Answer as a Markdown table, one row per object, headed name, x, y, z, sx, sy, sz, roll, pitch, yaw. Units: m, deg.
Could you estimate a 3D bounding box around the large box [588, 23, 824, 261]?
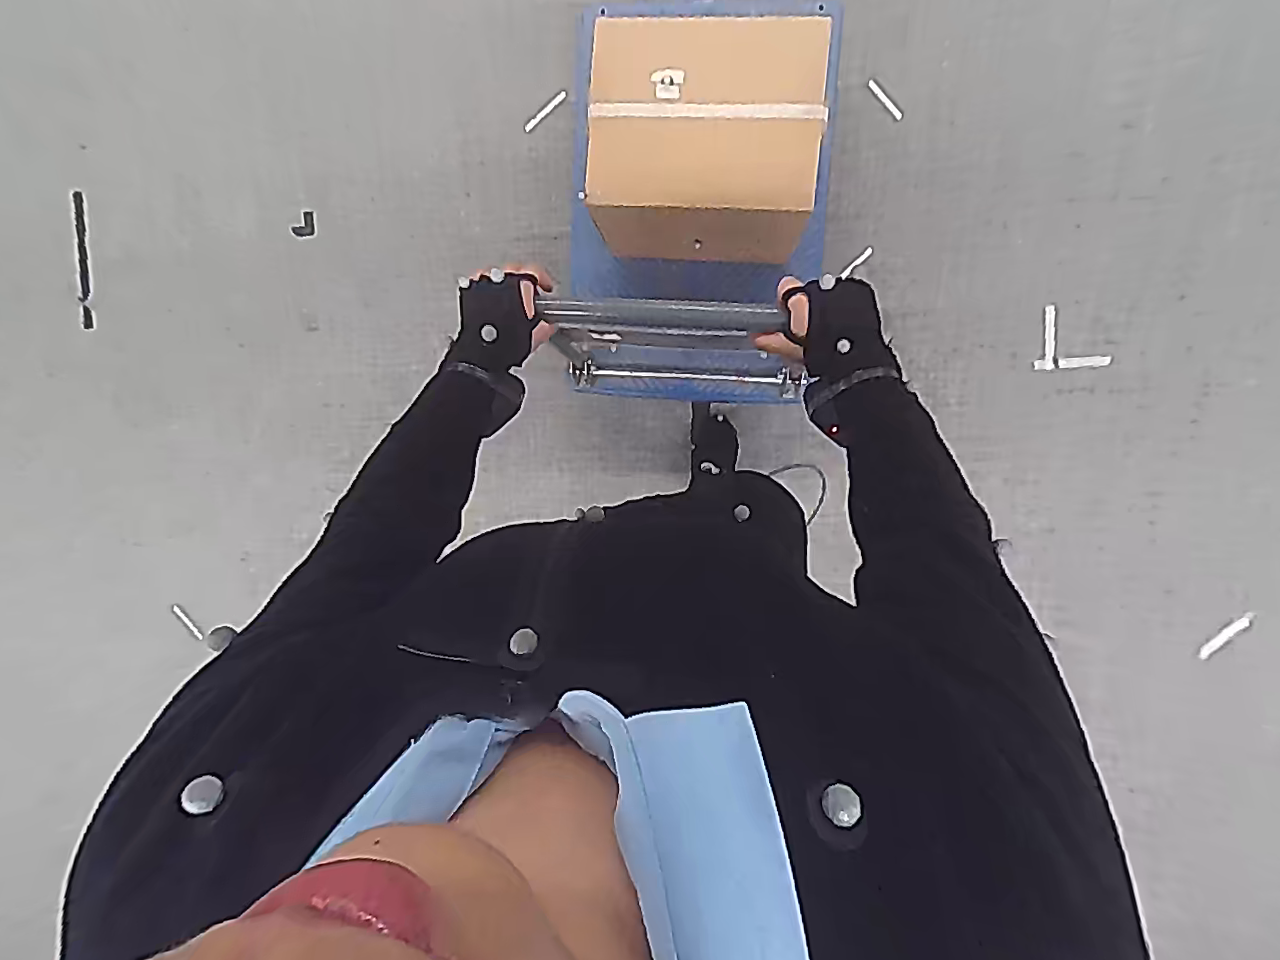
| name | x | y | z | sx | sy | sz | roll | pitch | yaw |
| --- | --- | --- | --- | --- | --- | --- | --- | --- | --- |
| large box | 0.130 | -0.649 | 1.101 | 0.408 | 0.320 | 0.320 | 5 | 95 | 7 |
